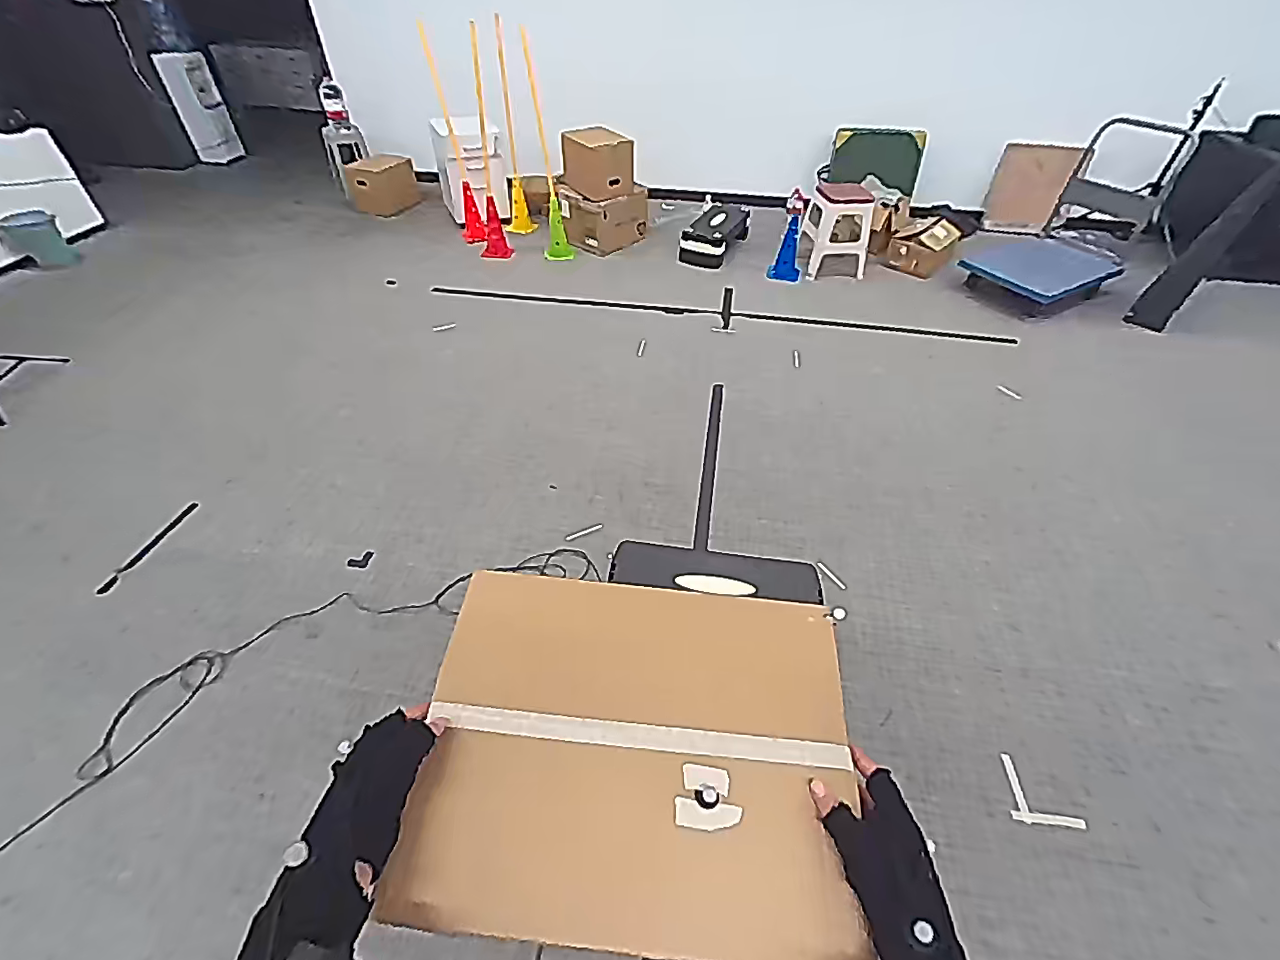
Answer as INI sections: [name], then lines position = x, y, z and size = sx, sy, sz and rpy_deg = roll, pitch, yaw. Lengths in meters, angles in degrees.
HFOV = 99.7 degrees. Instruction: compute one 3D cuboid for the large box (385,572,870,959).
[large box]
position = -0.007, 0.334, 0.641
size = 0.408, 0.320, 0.320
rpy_deg = 6, 53, 1
